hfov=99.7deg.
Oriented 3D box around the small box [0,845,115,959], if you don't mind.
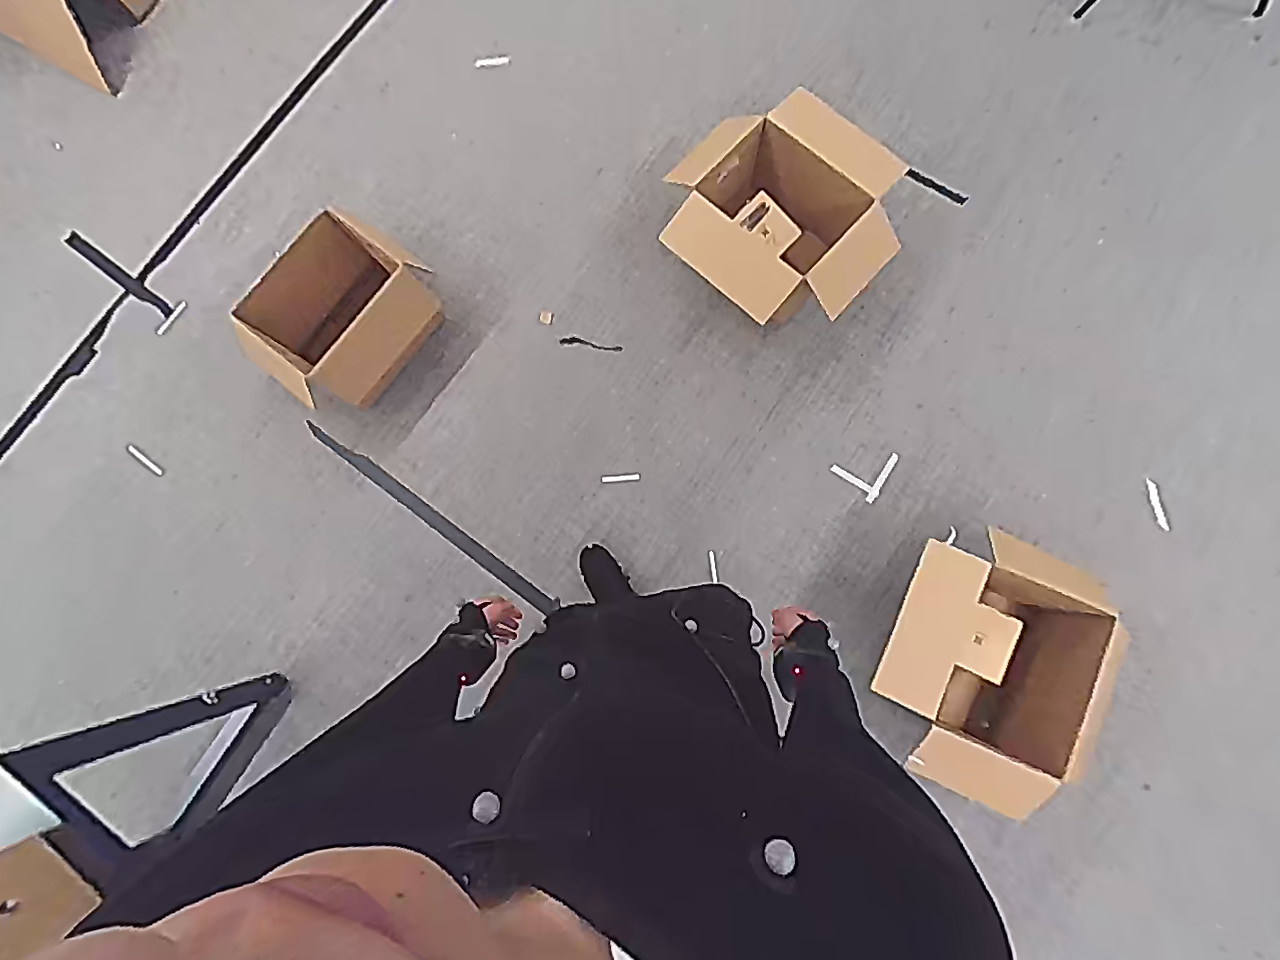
[{"bbox_3d":[-0.964,0.690,0.801,0.179,0.176,0.168,36,86,6],"label":"small box"}]
